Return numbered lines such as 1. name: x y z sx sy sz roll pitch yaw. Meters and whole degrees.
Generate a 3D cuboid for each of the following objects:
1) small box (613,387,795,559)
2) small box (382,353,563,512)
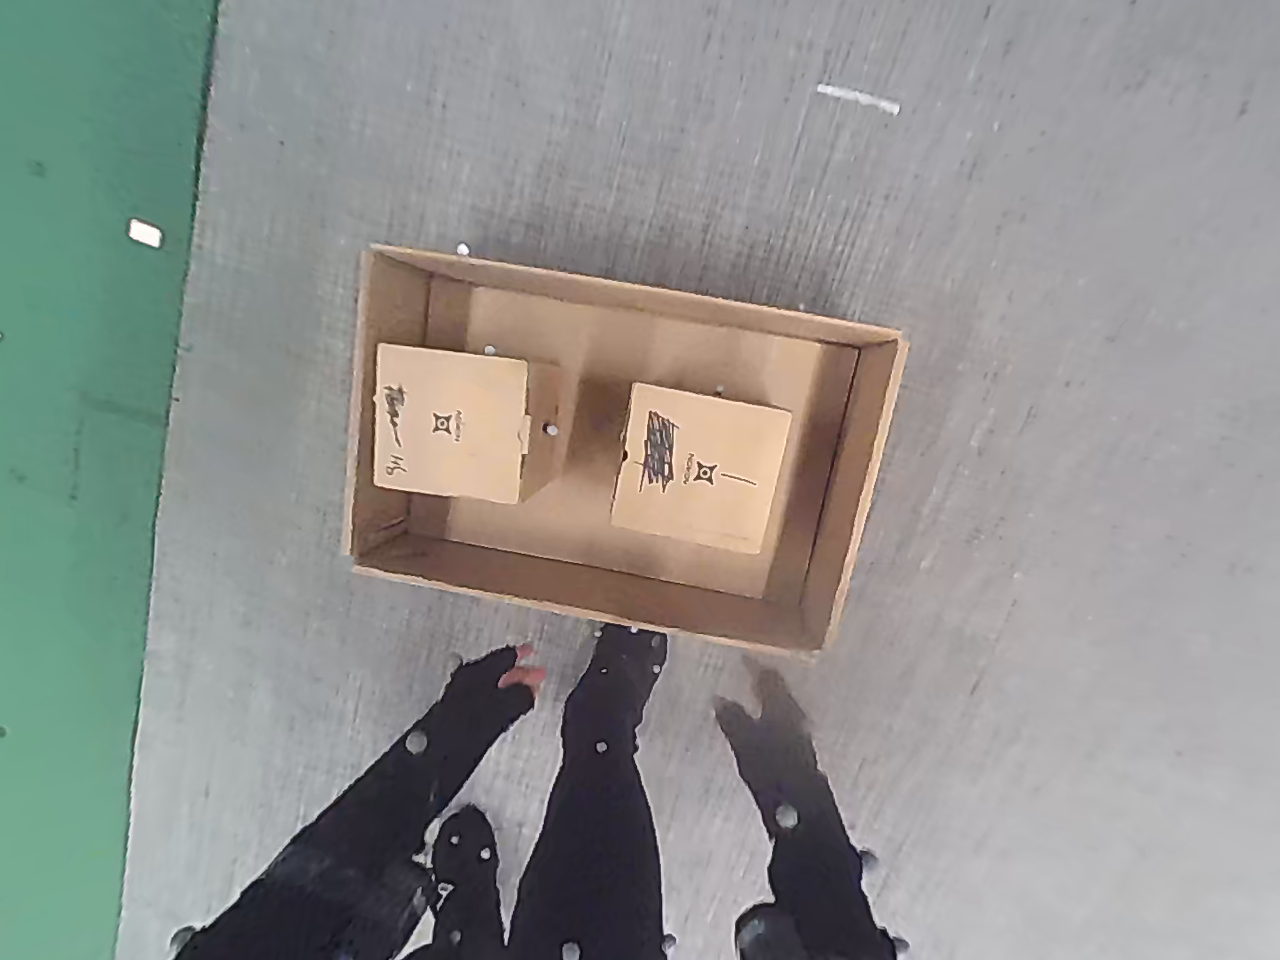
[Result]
1. small box: 0.076 -0.018 0.676 0.179 0.176 0.168 11 101 4
2. small box: -0.202 -0.067 0.693 0.179 0.176 0.168 7 100 2
